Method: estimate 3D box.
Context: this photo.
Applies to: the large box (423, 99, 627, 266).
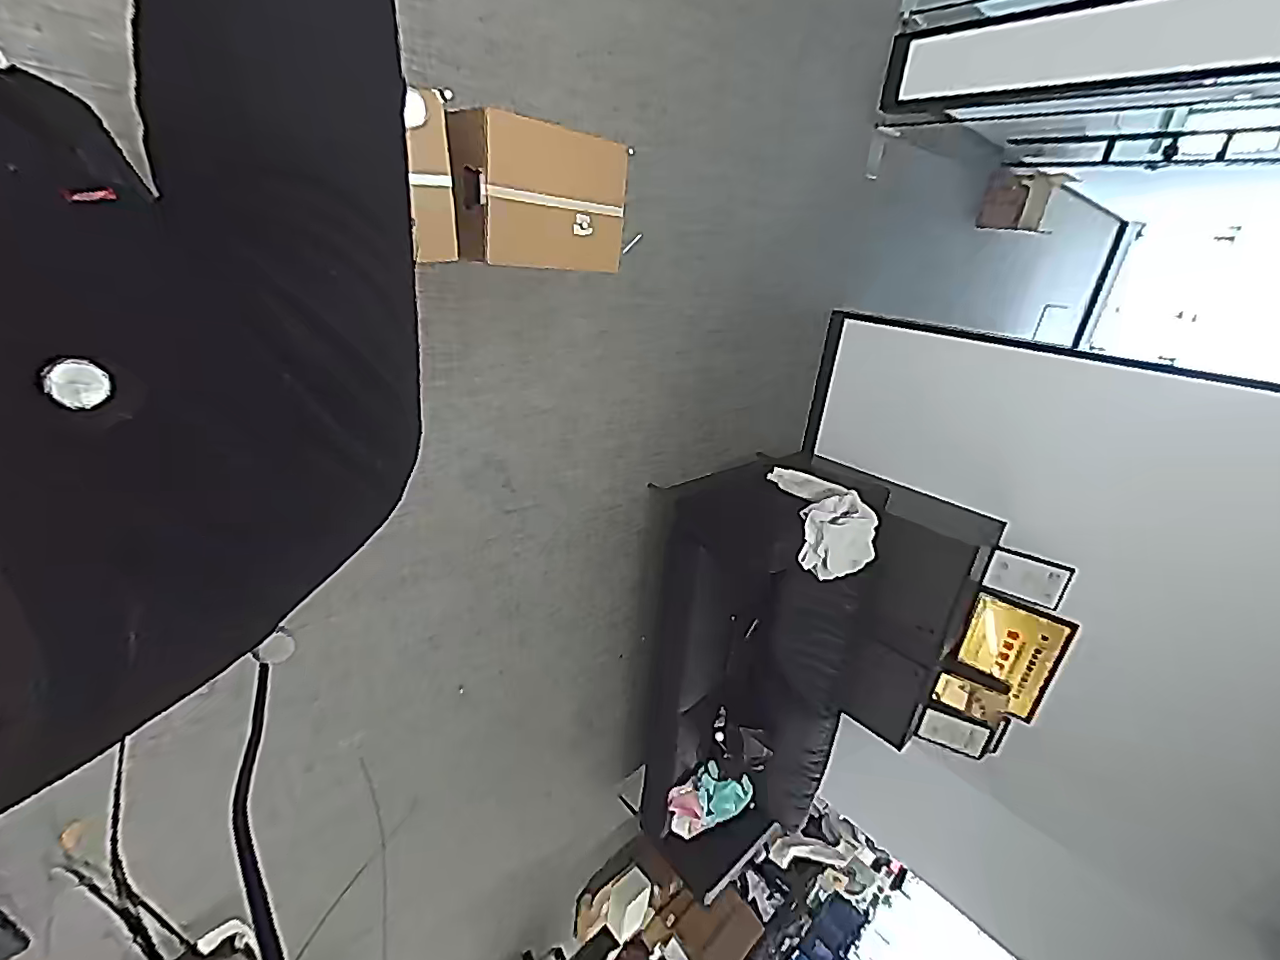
[{"bbox_3d":[-0.293,-0.739,1.392,0.408,0.320,0.320,-16,123,-42],"label":"large box"}]
